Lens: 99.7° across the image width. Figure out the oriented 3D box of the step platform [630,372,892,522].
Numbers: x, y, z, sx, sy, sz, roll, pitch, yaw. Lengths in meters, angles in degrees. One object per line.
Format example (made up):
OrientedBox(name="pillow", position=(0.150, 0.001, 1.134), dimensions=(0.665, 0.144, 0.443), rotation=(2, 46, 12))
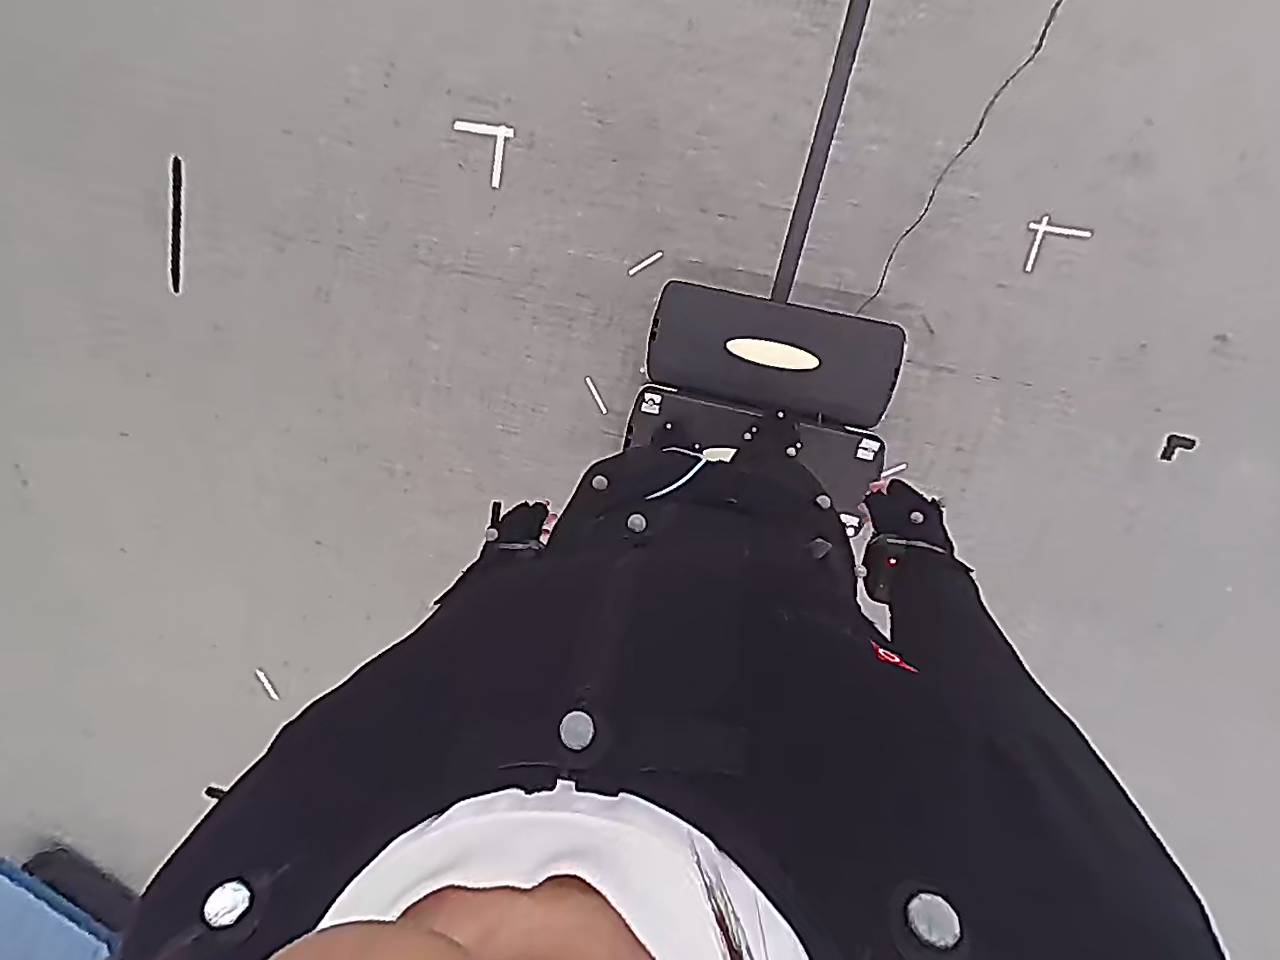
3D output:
OrientedBox(name="step platform", position=(0.316, -0.096, 1.488), dimensions=(0.684, 0.204, 0.286), rotation=(12, 101, 6))
